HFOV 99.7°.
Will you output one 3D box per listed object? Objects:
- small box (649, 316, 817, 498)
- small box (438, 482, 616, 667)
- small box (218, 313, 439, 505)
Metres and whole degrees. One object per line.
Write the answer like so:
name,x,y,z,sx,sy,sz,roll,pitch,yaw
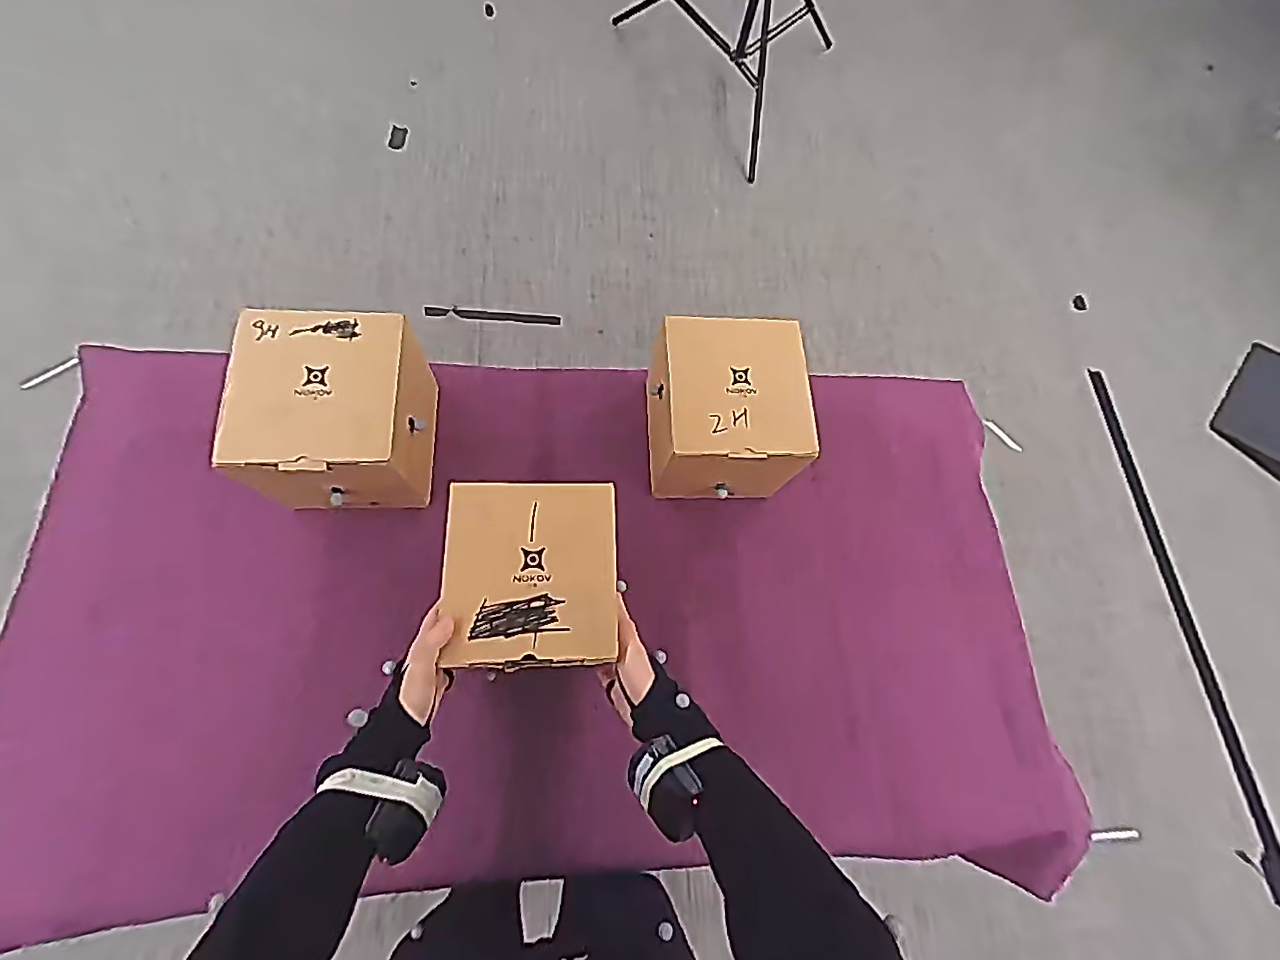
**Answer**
small box,0.104,-0.084,0.690,0.168,0.176,0.179,0,72,-6
small box,-0.112,0.111,0.596,0.168,0.176,0.179,0,70,-7
small box,-0.340,-0.071,0.629,0.168,0.176,0.179,0,73,-8
